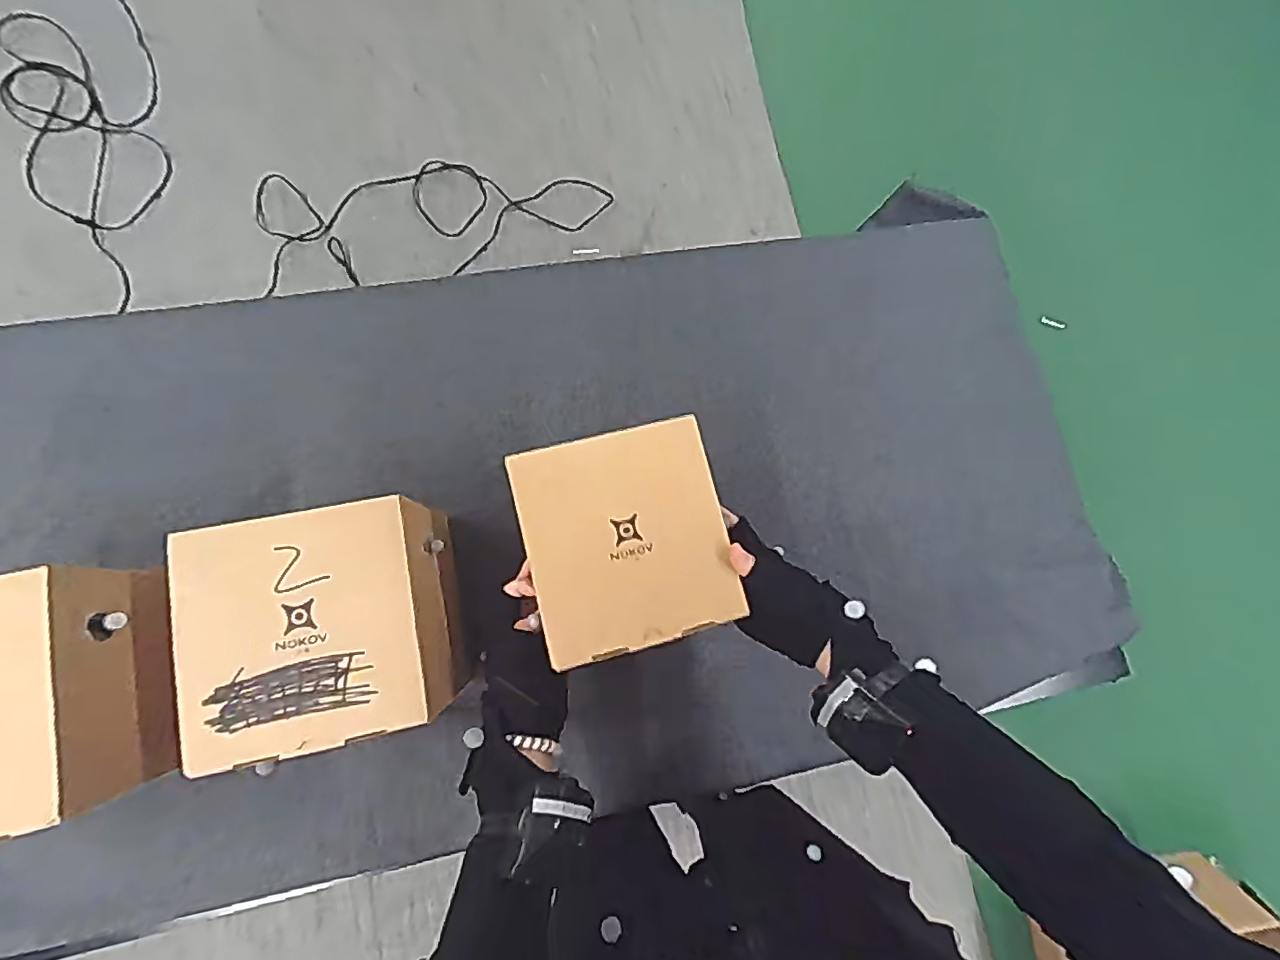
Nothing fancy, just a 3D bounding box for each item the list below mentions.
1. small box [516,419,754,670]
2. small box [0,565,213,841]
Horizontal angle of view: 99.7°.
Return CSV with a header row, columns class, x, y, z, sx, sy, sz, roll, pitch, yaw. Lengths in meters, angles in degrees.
class,x,y,z,sx,sy,sz,roll,pitch,yaw
small box,-0.016,0.060,0.518,0.168,0.176,0.179,-14,84,-10
small box,-0.485,0.174,0.431,0.168,0.176,0.179,-12,81,-10
